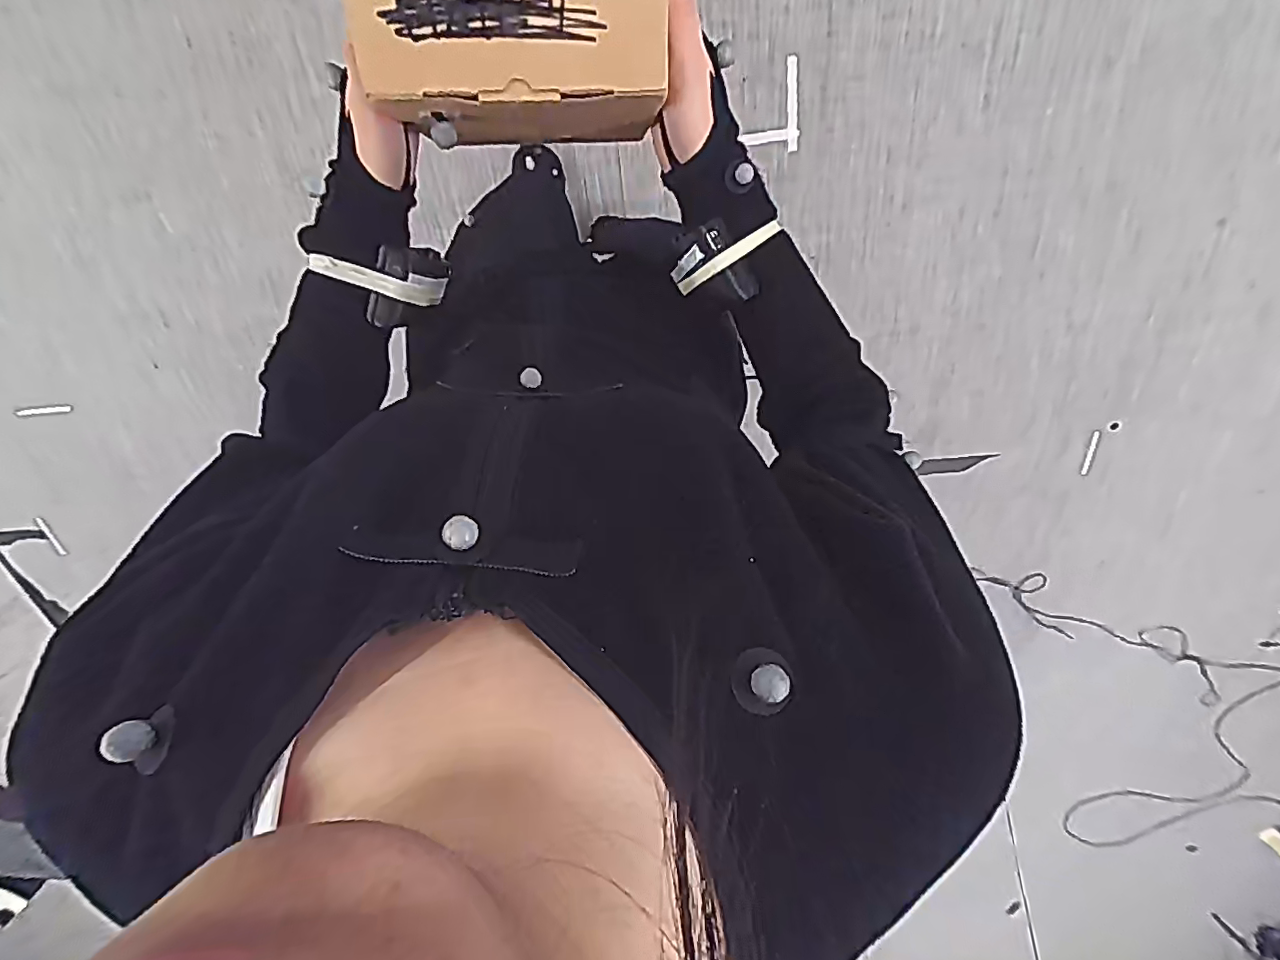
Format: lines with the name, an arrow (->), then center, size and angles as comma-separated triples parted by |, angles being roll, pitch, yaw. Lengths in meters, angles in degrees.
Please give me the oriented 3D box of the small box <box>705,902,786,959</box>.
small box -> 0.247, 1.124, 1.262 | 0.179, 0.176, 0.168 | -8, 119, 3
